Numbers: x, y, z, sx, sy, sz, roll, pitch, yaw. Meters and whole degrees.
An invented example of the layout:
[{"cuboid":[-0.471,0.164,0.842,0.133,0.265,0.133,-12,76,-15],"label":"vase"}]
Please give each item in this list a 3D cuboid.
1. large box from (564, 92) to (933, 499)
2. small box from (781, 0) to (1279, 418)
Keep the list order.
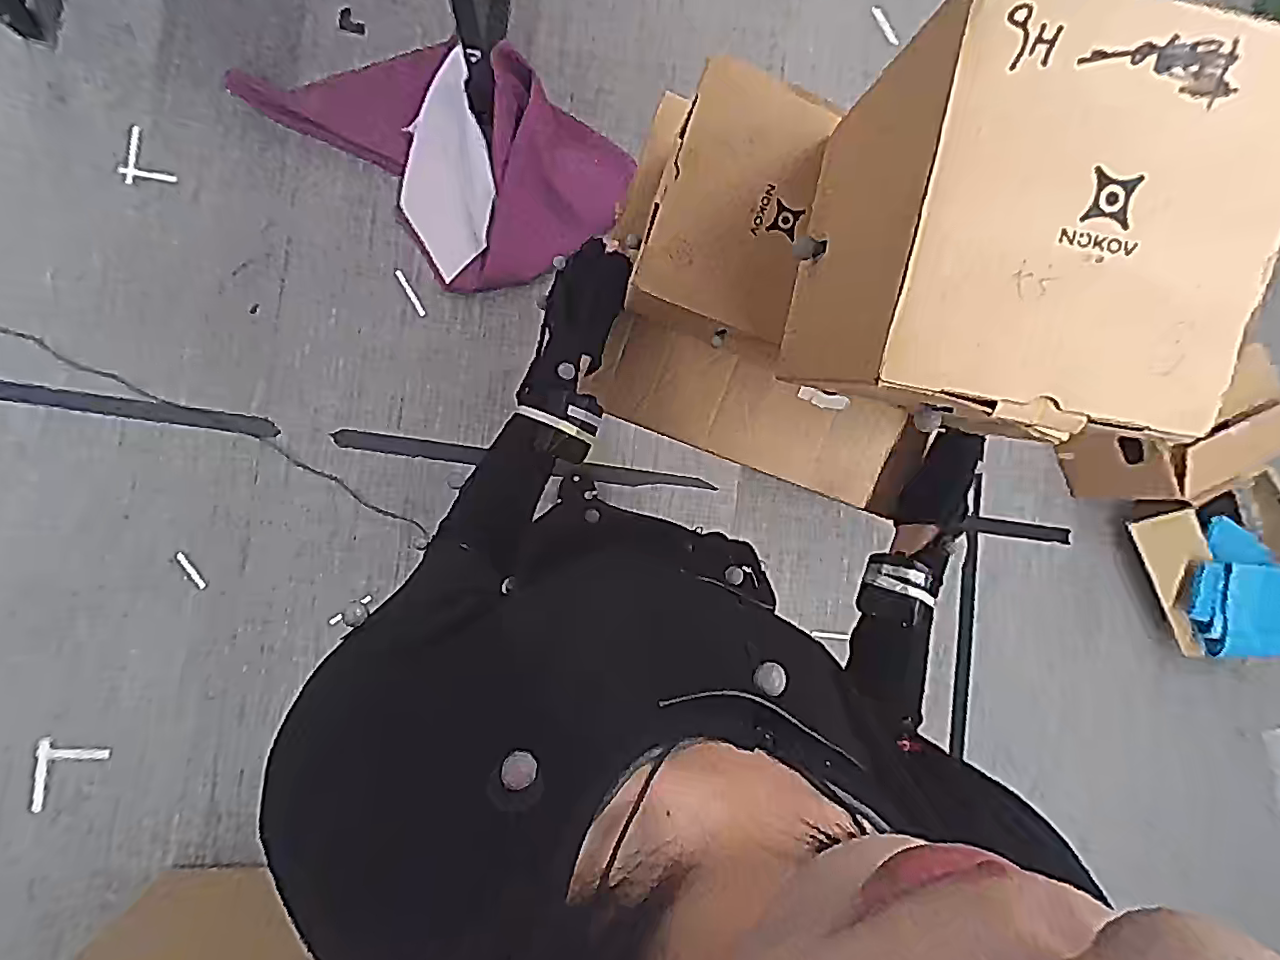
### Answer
[{"cuboid":[0.140,-0.204,0.715,0.408,0.320,0.320,19,99,-7],"label":"large box"},{"cuboid":[0.195,-0.142,0.315,0.168,0.176,0.179,9,101,-4],"label":"small box"}]
